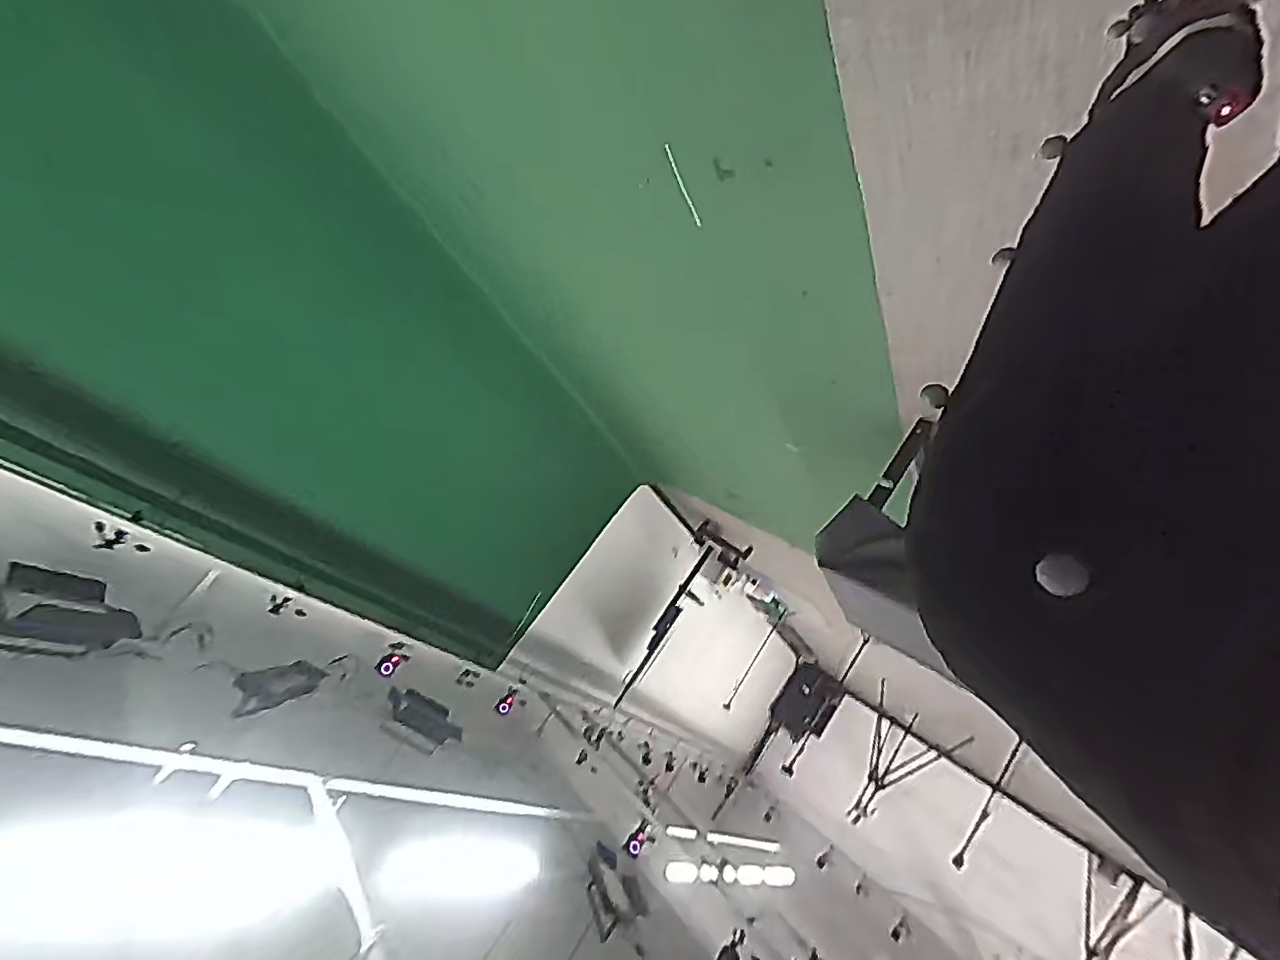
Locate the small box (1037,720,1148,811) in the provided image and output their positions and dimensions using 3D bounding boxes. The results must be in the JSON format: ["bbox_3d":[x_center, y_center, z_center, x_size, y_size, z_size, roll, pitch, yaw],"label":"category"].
[{"bbox_3d":[1.294,0.813,1.554,0.179,0.176,0.168,29,165,34],"label":"small box"}]
